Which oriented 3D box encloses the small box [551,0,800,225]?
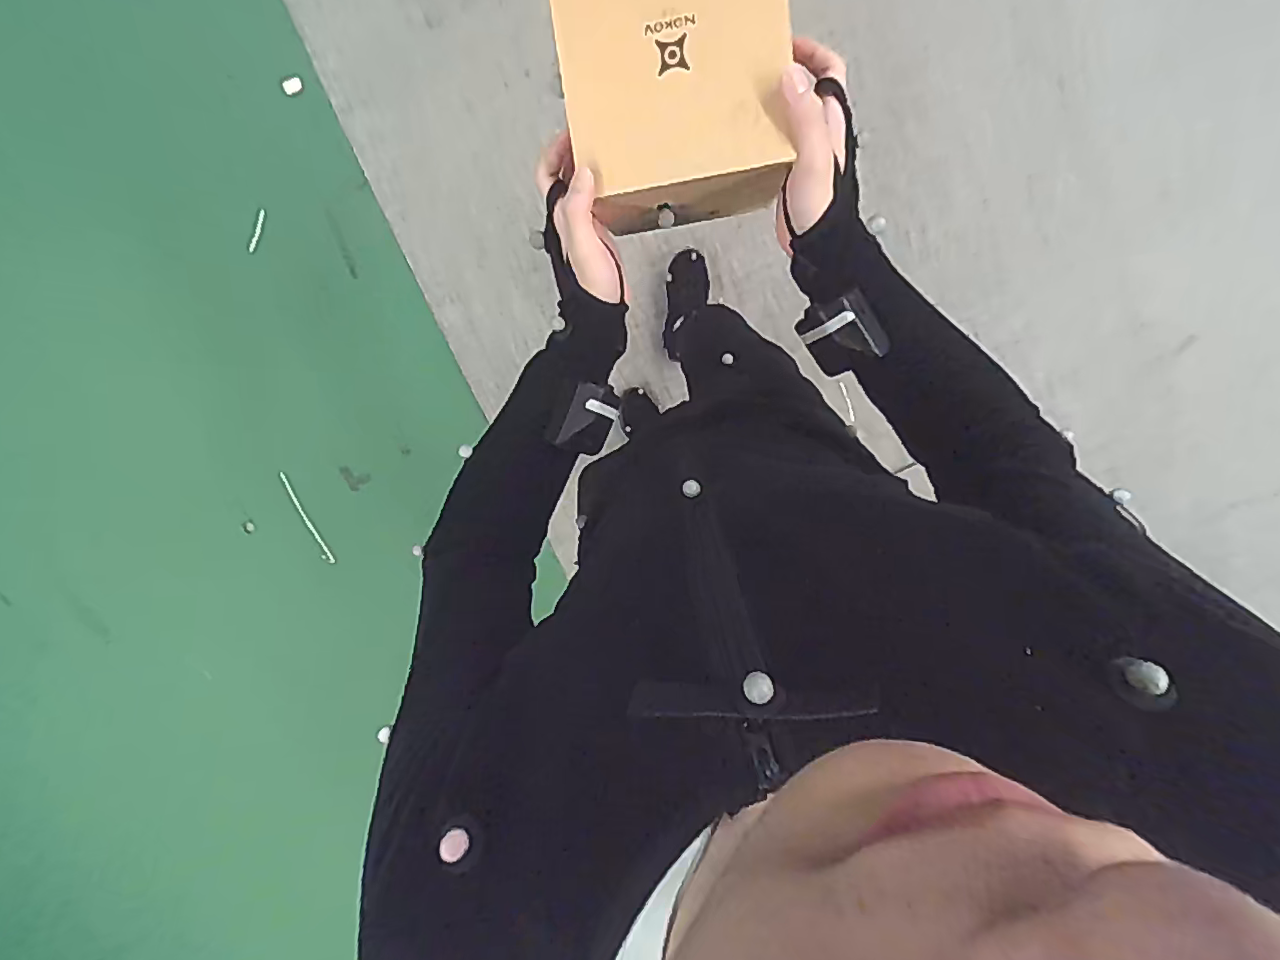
[{"bbox_3d":[0.033,-0.324,0.448,0.168,0.176,0.179,-6,103,9],"label":"small box"}]
